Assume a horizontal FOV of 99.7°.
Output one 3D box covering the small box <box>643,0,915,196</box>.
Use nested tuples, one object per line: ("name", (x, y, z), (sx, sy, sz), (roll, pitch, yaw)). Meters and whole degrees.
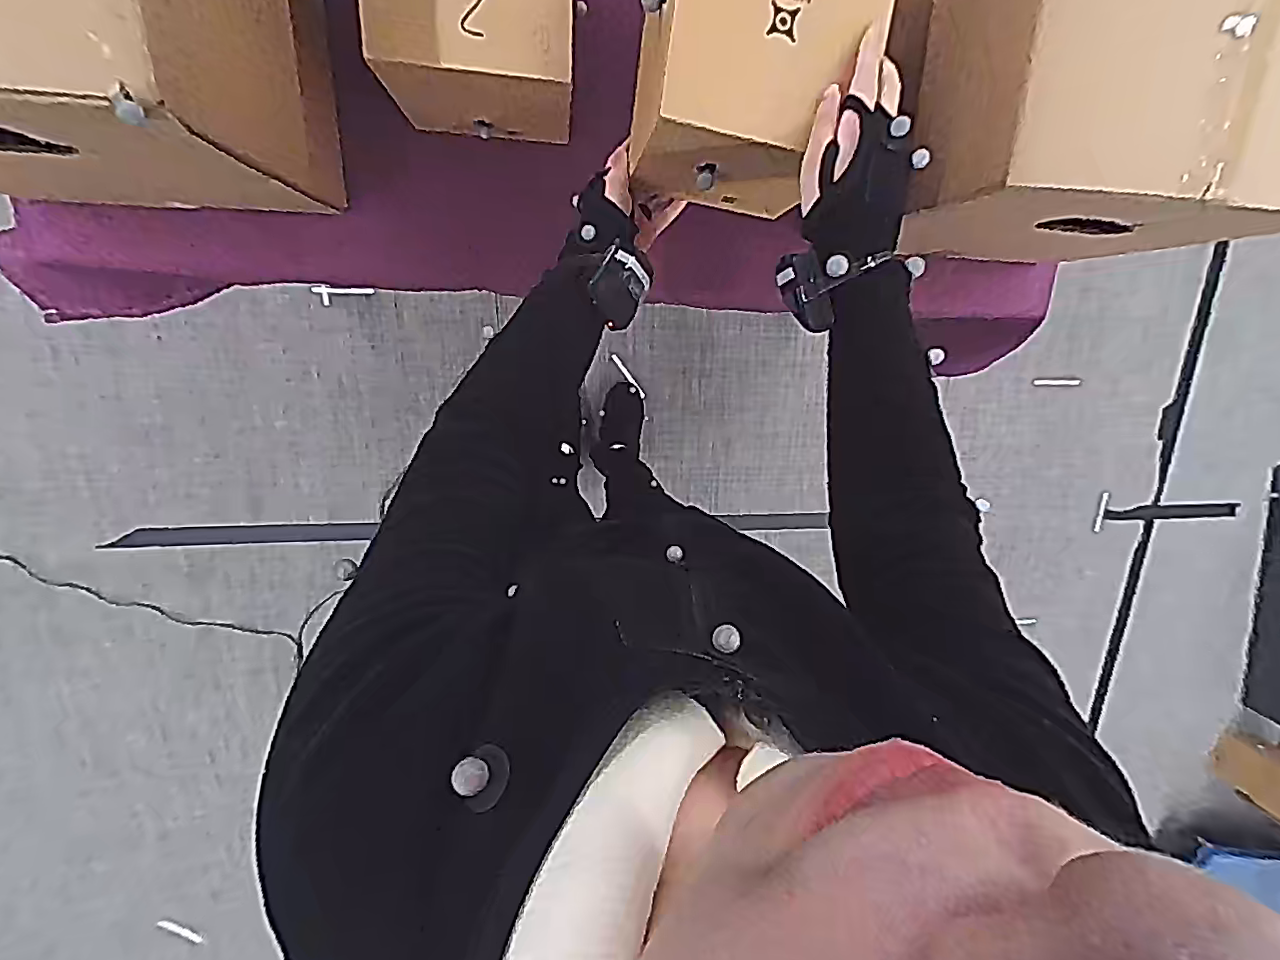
("small box", (0.103, -0.358, 0.430), (0.179, 0.176, 0.168), (3, 81, 8))
